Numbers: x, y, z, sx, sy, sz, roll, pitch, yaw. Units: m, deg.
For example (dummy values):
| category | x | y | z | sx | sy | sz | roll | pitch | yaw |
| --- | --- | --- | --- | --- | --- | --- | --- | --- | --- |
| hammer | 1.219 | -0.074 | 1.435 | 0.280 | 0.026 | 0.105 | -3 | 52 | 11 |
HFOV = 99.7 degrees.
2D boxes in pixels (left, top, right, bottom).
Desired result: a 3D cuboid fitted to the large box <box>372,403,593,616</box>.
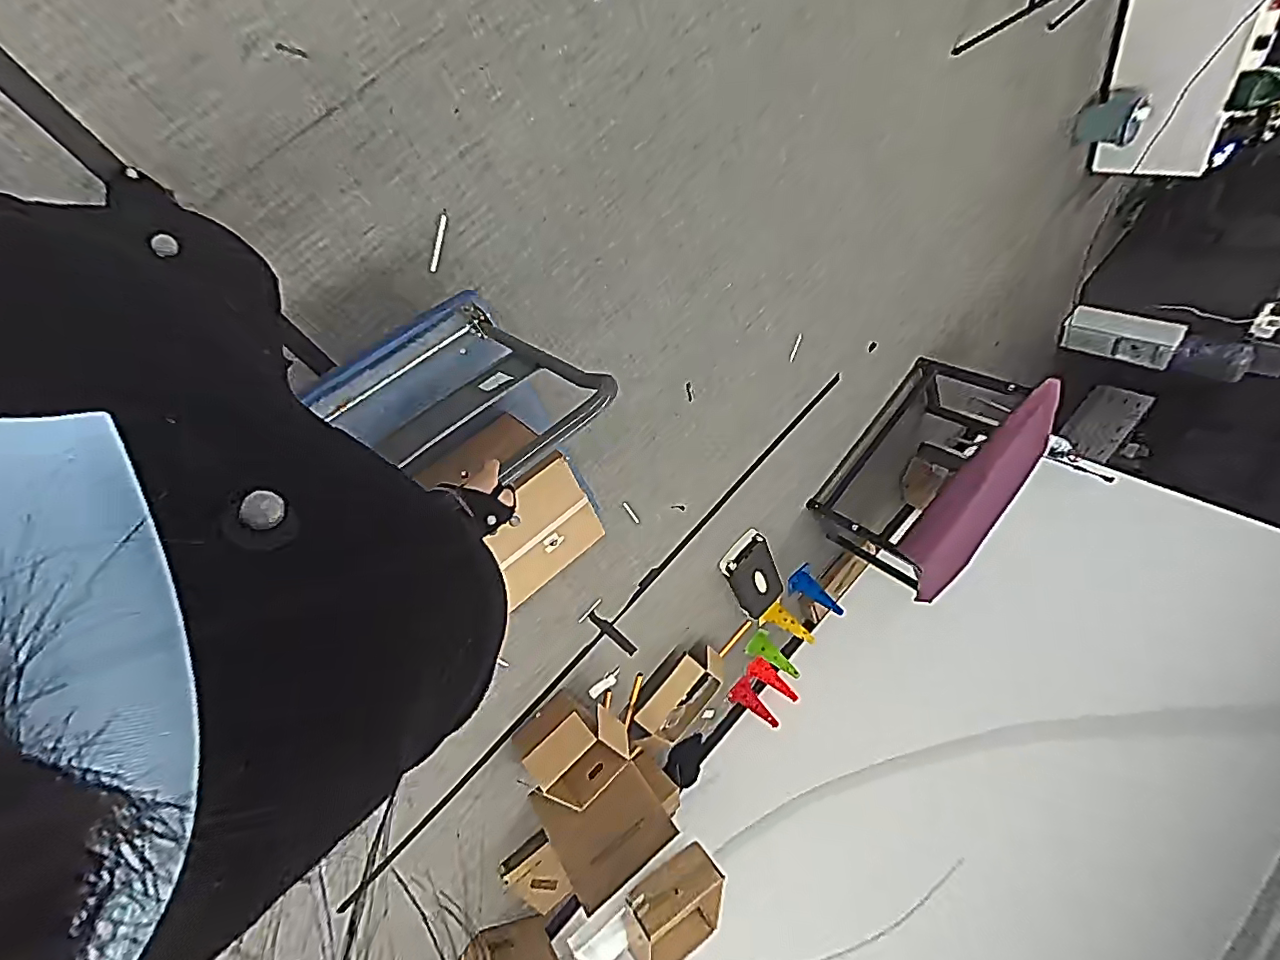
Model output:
| category | x | y | z | sx | sy | sz | roll | pitch | yaw |
| --- | --- | --- | --- | --- | --- | --- | --- | --- | --- |
| large box | -0.408 | 0.067 | 1.431 | 0.408 | 0.320 | 0.320 | -40 | 137 | -17 |
